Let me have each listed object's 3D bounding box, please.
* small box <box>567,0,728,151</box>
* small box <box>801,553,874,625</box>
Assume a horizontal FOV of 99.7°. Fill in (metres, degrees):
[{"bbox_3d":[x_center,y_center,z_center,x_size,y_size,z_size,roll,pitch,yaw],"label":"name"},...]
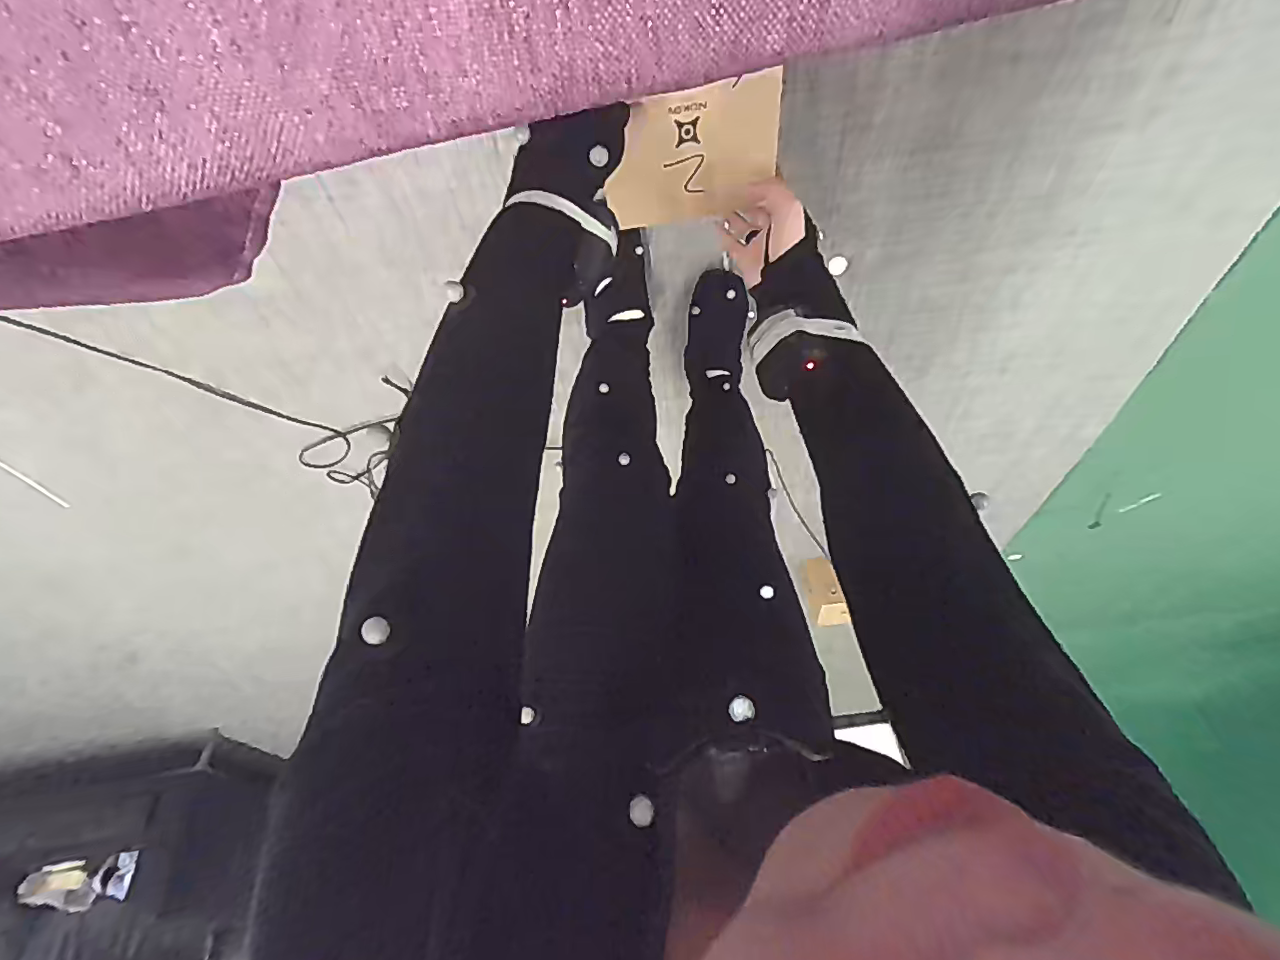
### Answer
[{"bbox_3d":[0.007,-0.521,0.632,0.168,0.176,0.179,-8,141,2],"label":"small box"},{"bbox_3d":[0.644,0.360,1.791,0.179,0.176,0.168,-8,142,3],"label":"small box"}]
